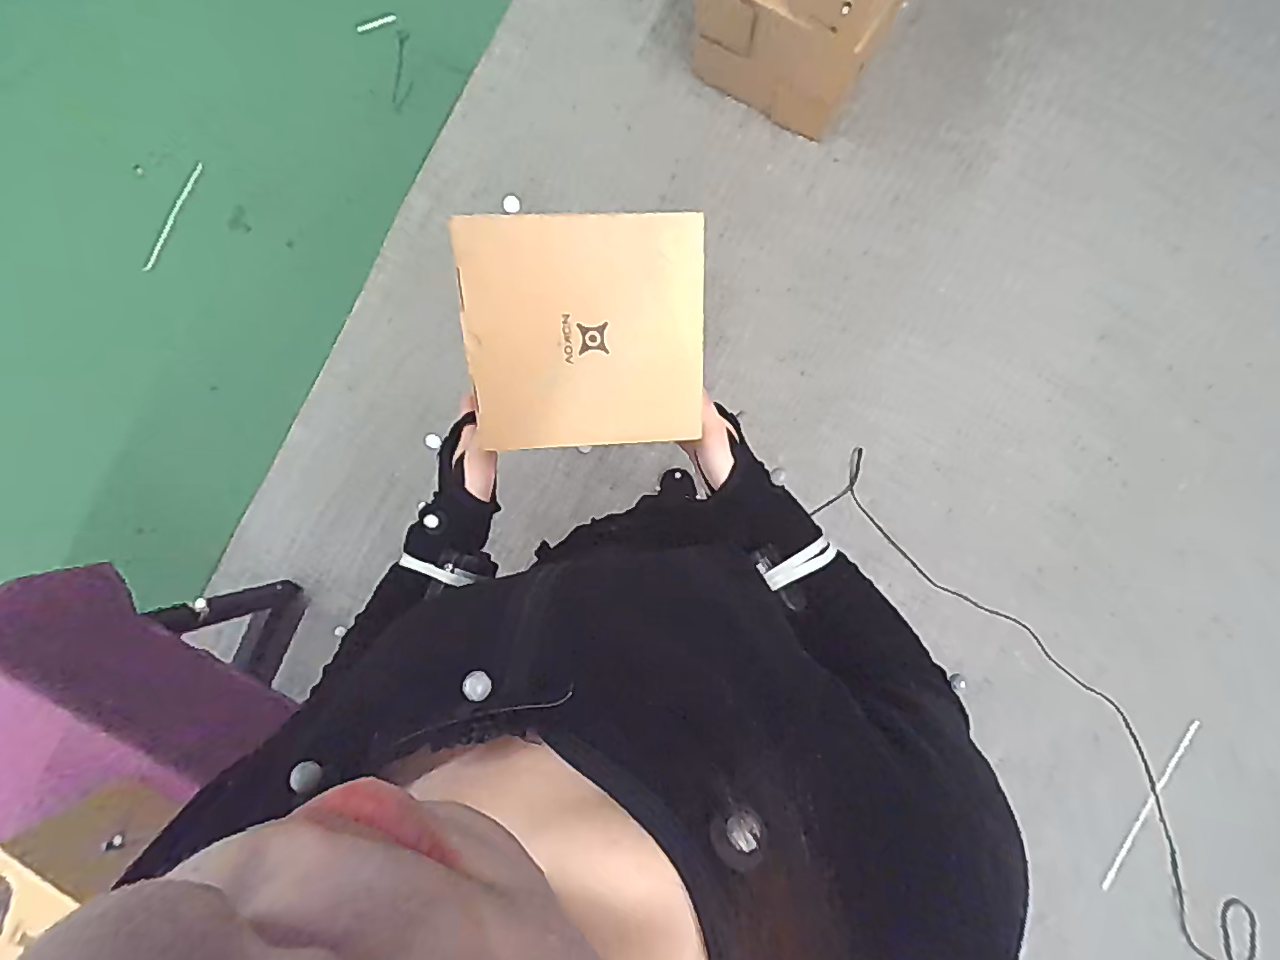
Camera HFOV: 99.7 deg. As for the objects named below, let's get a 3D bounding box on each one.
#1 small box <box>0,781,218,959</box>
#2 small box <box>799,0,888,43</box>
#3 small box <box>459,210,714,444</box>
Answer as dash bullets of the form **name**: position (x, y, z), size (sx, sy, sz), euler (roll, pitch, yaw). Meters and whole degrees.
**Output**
- **small box**: position (-0.758, 0.561, 0.754), size (0.179, 0.176, 0.168), euler (28, 93, 4)
- **small box**: position (0.435, -1.037, 1.075), size (0.168, 0.176, 0.179), euler (36, 91, 3)
- **small box**: position (-0.041, -0.137, 0.468), size (0.179, 0.176, 0.168), euler (-3, 111, -4)
